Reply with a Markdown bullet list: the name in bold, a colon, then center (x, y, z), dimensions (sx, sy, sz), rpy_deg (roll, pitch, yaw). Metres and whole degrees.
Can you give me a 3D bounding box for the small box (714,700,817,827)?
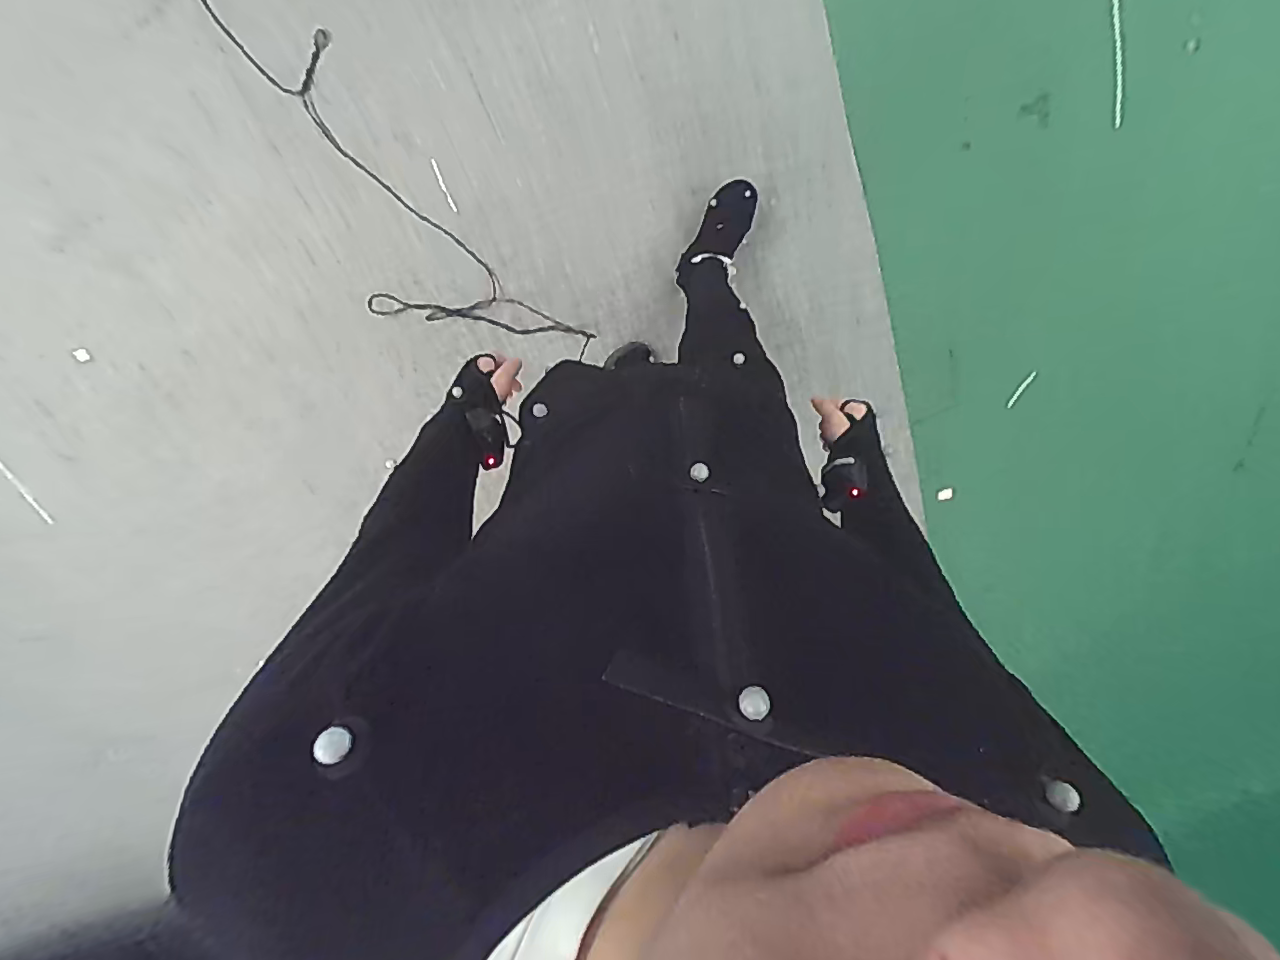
- **small box**: center (0.270, 0.613, 1.193), dimensions (0.168, 0.176, 0.179), rpy_deg (-17, 110, 4)
